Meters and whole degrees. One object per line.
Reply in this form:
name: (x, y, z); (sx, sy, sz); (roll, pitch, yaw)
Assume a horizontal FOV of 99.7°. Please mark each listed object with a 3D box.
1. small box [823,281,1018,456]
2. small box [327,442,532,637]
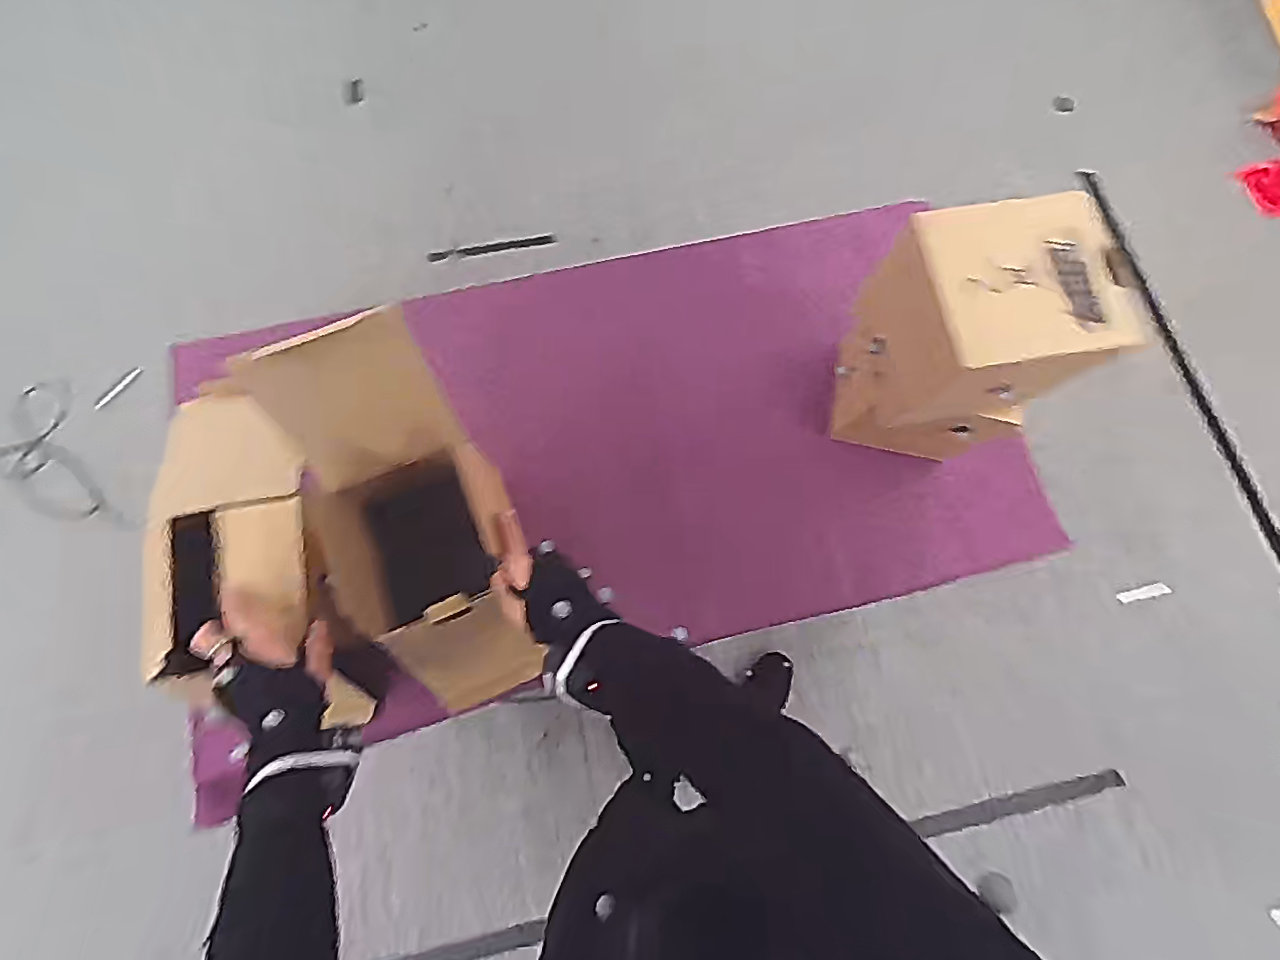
small box: (0.377, -0.141, 0.749); (0.179, 0.176, 0.168); (12, 76, 1)
small box: (-0.248, 0.079, 0.678); (0.168, 0.176, 0.179); (-22, 78, -7)
